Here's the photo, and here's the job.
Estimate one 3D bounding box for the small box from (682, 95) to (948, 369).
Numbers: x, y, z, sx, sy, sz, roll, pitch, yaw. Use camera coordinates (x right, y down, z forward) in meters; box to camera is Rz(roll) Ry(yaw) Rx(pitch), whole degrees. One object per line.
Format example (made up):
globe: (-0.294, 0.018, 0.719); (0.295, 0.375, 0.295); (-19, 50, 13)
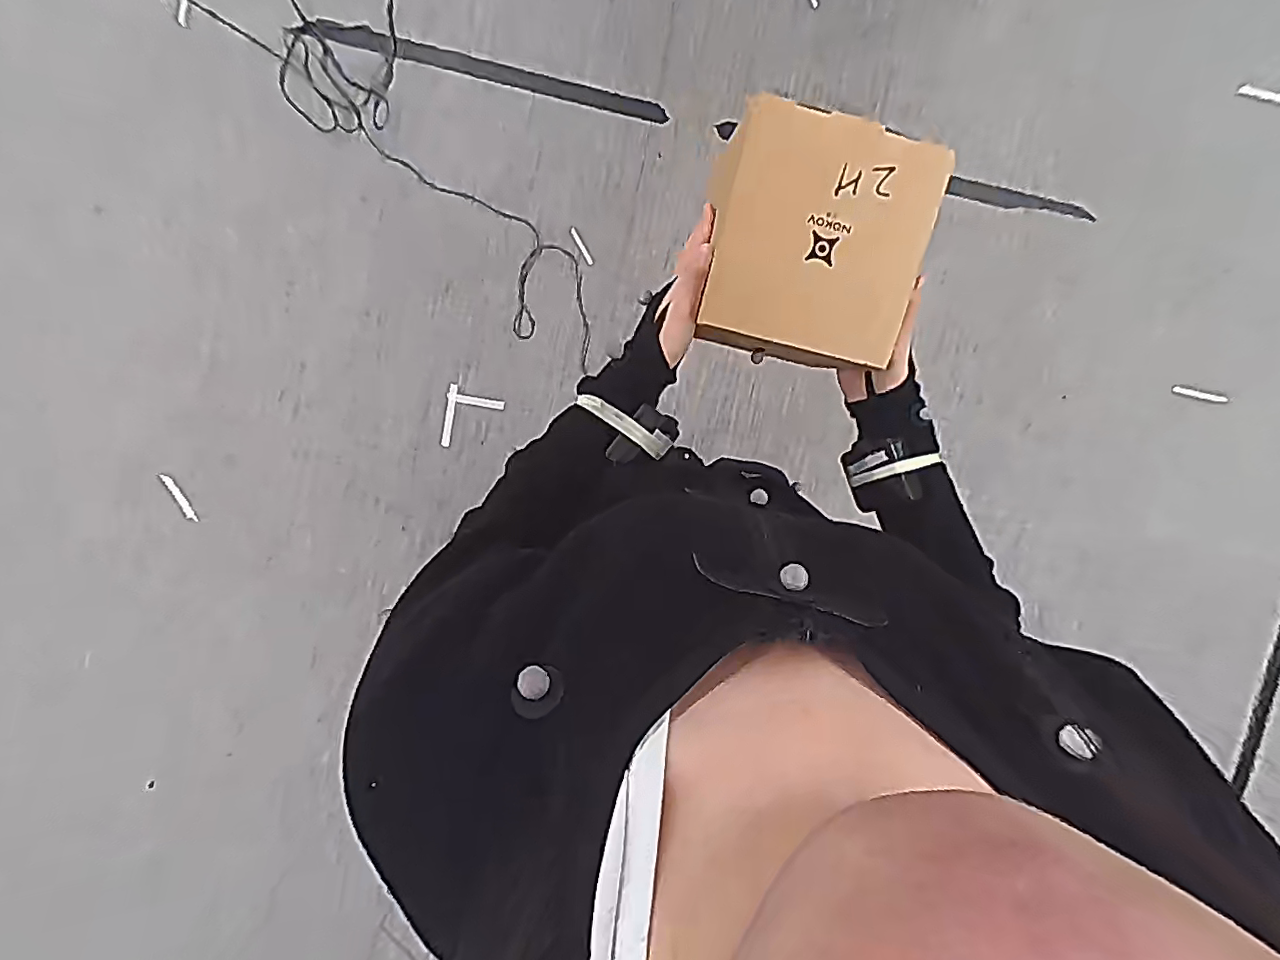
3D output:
small box: (0.143, -0.211, 0.515); (0.168, 0.176, 0.179); (13, 100, -7)
